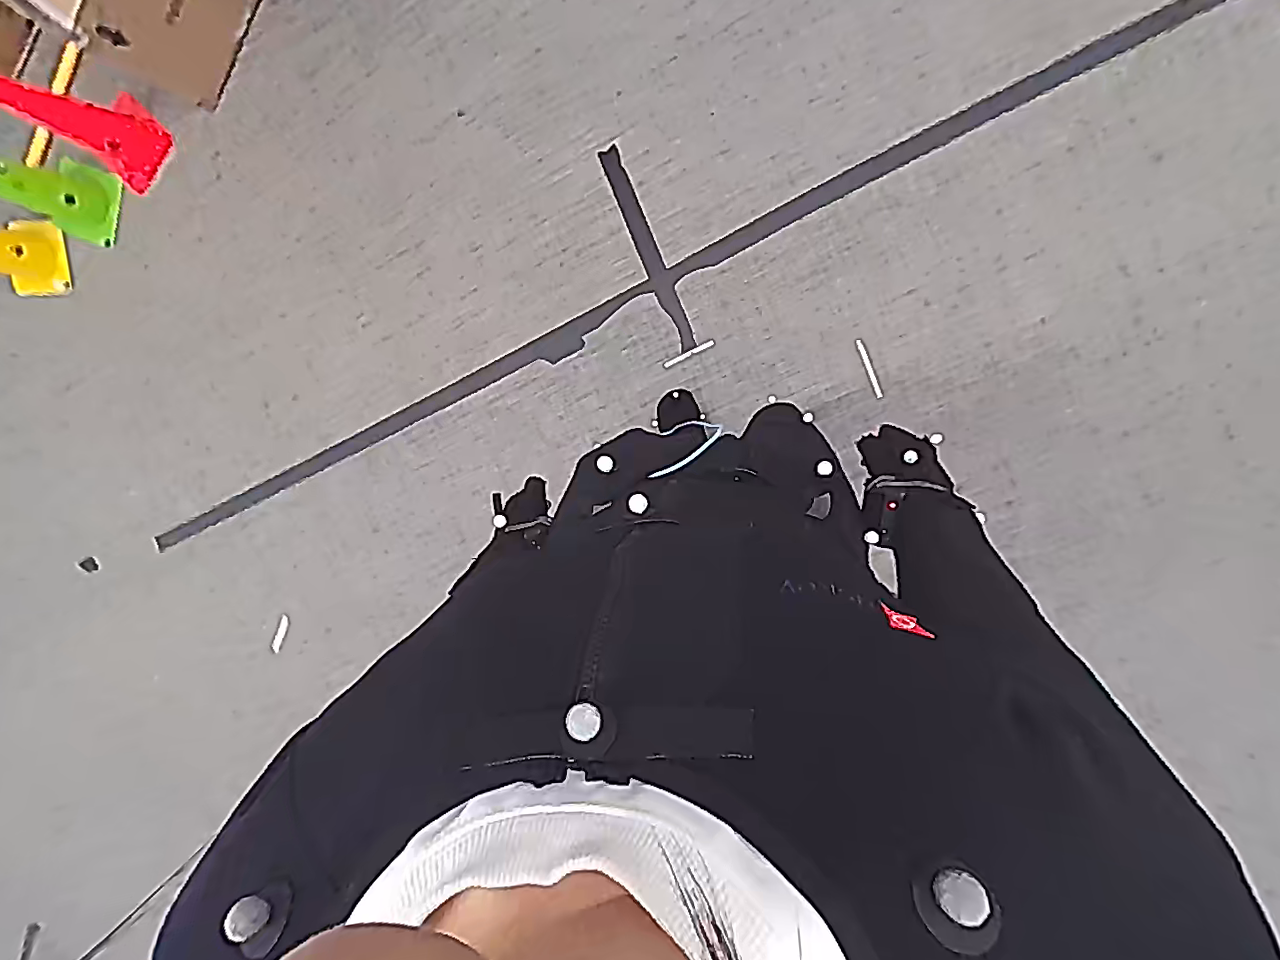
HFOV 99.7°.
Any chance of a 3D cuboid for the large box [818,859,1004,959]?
[{"bbox_3d":[0.743,1.298,1.417,0.408,0.320,0.320,-26,96,10],"label":"large box"}]
